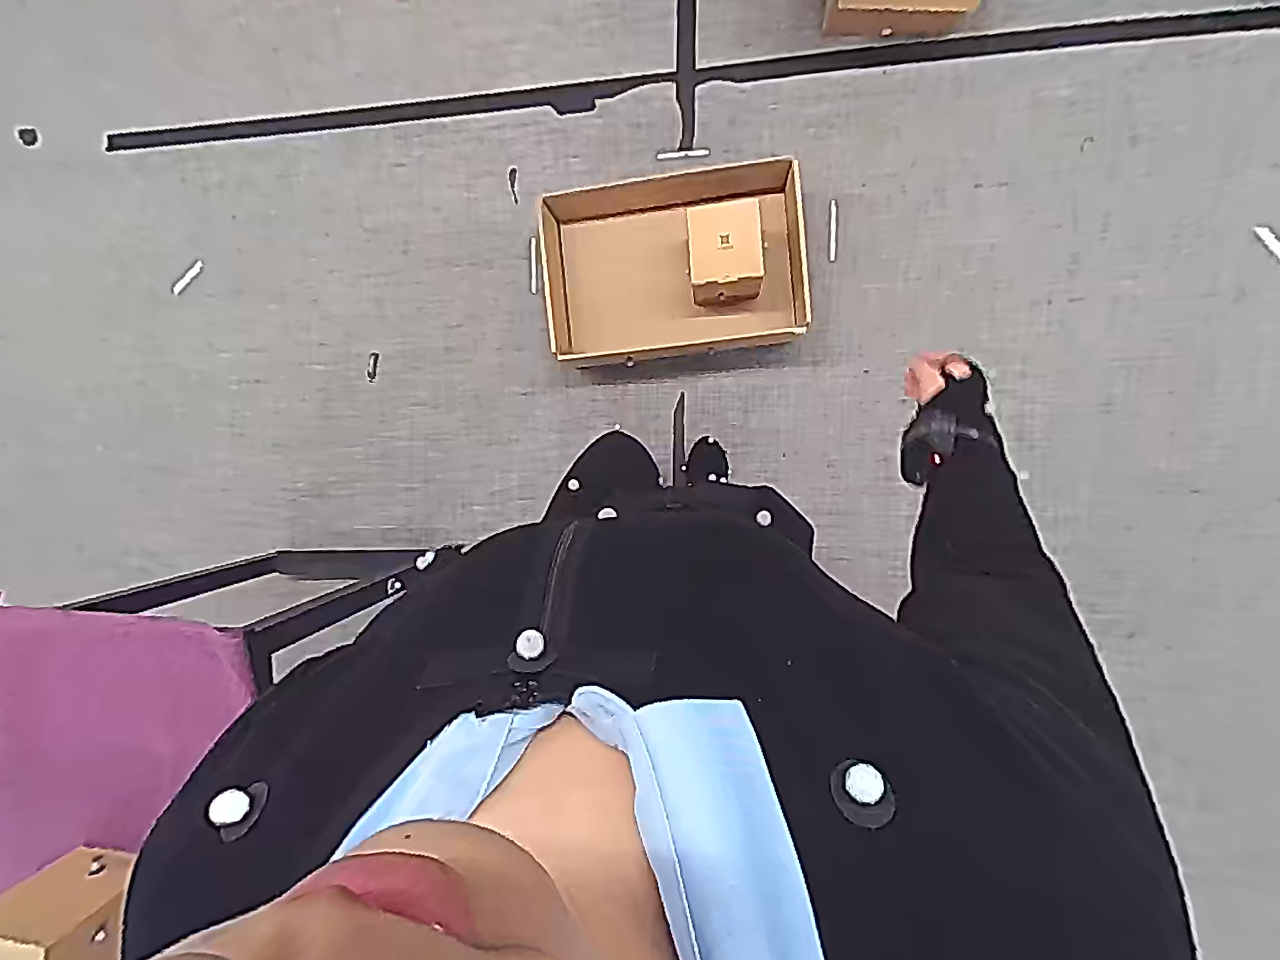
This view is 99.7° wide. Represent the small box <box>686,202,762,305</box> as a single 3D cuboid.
[{"bbox_3d":[0.199,-0.540,1.309,0.168,0.176,0.179,-5,93,8],"label":"small box"}]
